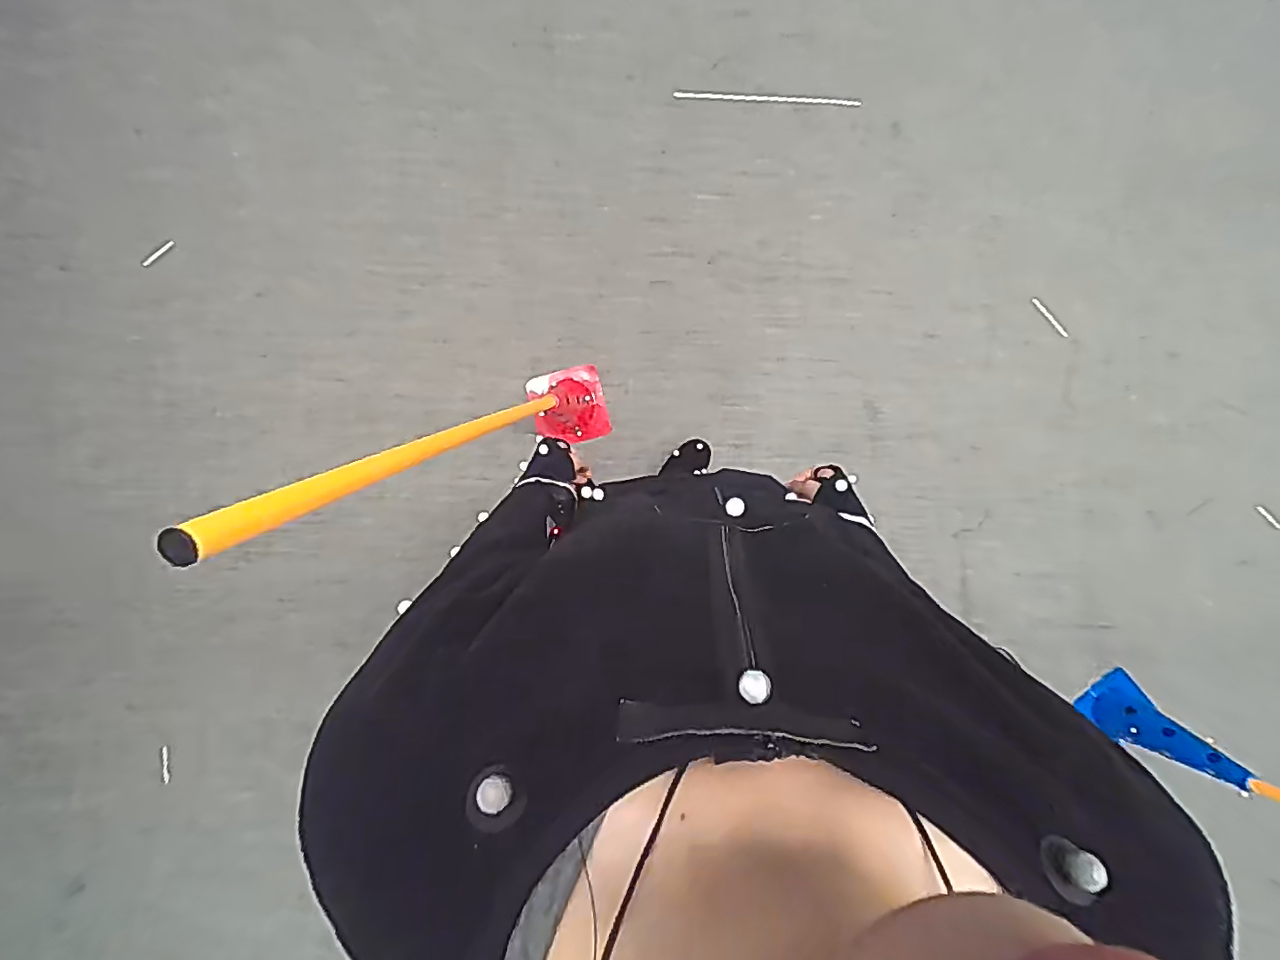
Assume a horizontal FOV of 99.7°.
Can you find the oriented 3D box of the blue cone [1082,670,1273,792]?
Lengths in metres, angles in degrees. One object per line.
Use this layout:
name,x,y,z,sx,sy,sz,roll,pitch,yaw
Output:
blue cone,1.406,0.677,1.411,0.193,0.380,0.192,-44,94,0
